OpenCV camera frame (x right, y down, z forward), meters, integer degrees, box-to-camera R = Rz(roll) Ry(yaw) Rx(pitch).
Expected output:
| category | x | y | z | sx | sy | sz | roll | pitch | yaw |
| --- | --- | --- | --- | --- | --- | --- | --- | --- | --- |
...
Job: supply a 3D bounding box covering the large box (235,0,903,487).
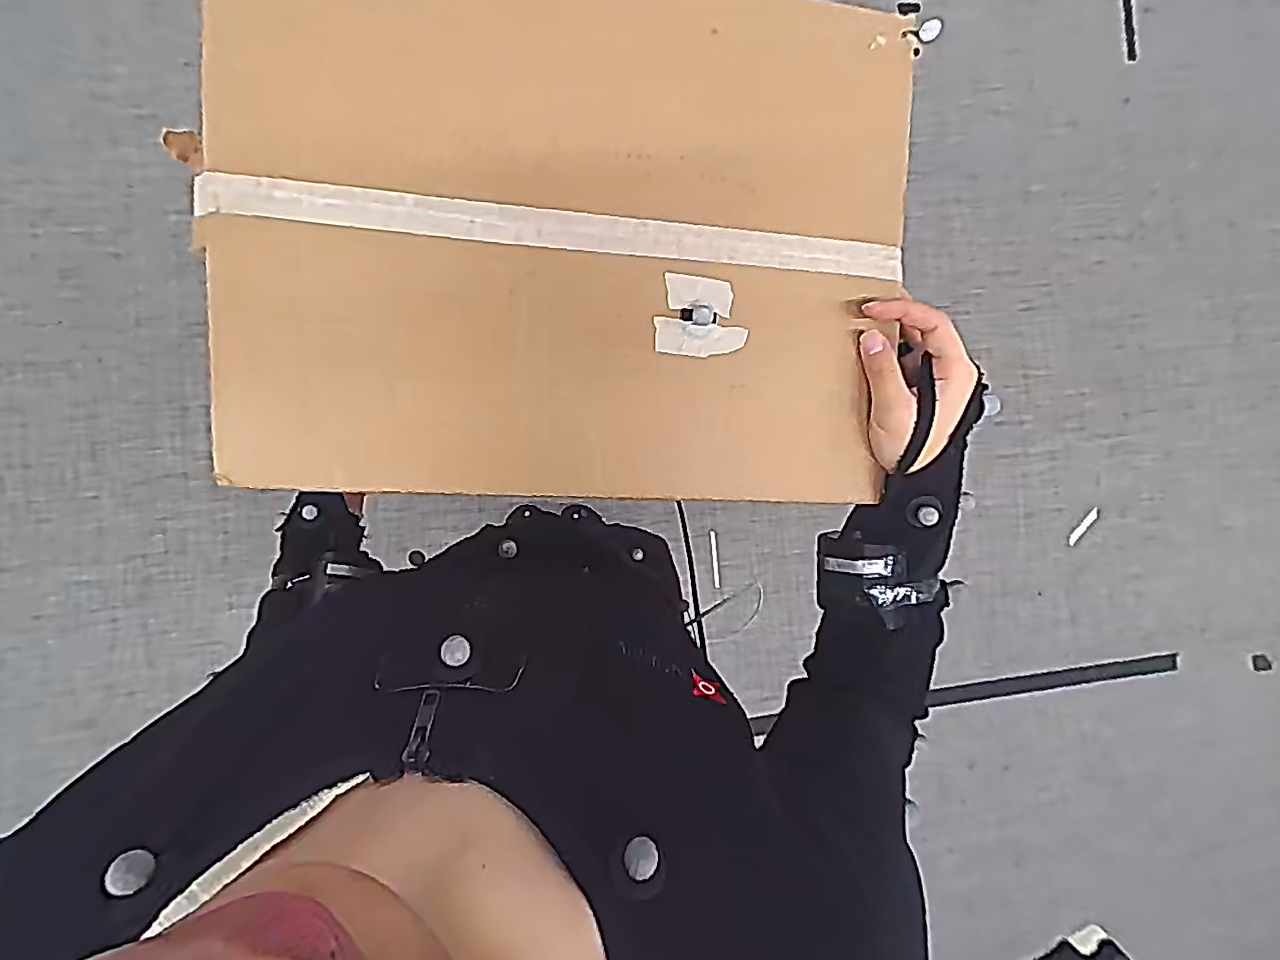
| category | x | y | z | sx | sy | sz | roll | pitch | yaw |
| --- | --- | --- | --- | --- | --- | --- | --- | --- | --- |
| large box | -0.053 | -0.162 | 0.475 | 0.408 | 0.320 | 0.320 | 1 | 95 | -11 |
